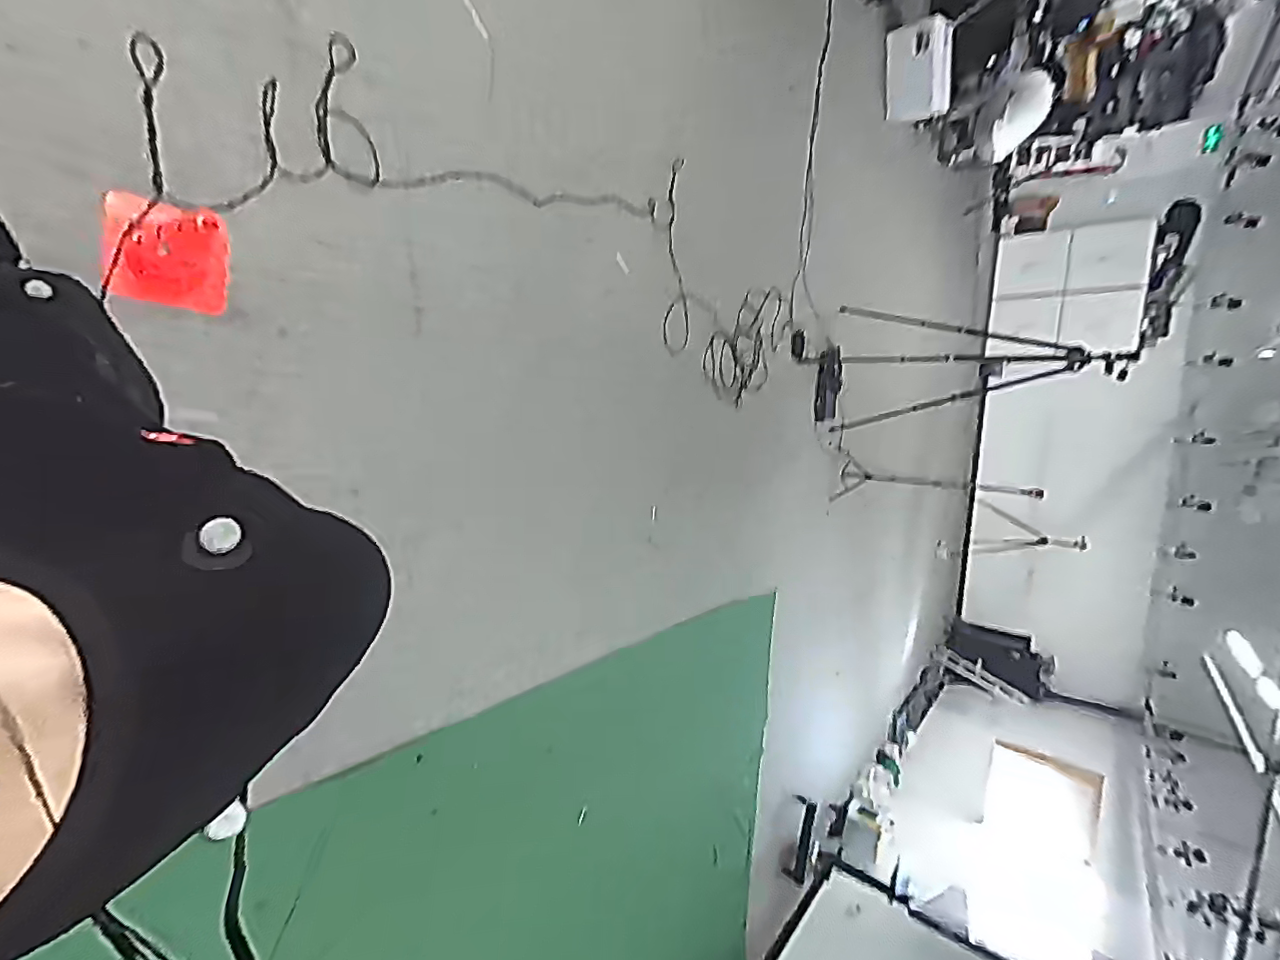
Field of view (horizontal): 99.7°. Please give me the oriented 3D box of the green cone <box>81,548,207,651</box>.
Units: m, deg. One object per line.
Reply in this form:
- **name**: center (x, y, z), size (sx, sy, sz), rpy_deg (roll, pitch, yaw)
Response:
- **green cone**: center (-0.932, 0.269, 1.061), size (0.200, 0.368, 0.202), rpy_deg (0, 96, -51)

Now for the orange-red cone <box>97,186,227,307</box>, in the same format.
- **orange-red cone**: center (-0.863, -0.459, 1.020), size (0.198, 0.360, 0.199), rpy_deg (4, 95, -50)
